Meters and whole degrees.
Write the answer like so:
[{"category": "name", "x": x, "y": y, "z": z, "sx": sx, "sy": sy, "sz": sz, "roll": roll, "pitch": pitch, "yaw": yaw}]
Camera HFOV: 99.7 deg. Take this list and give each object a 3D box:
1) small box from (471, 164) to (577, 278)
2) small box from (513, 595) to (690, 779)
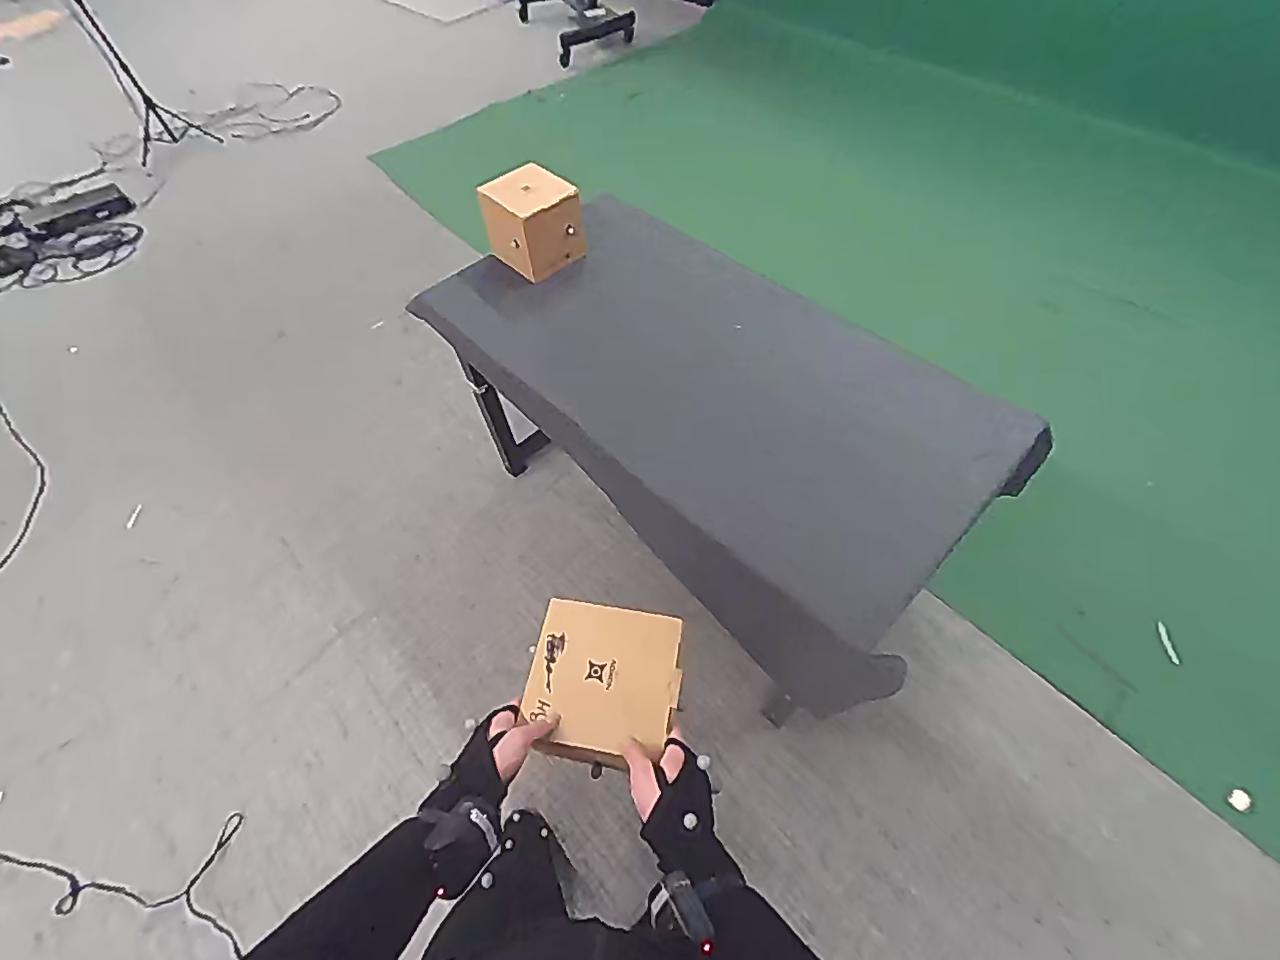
[{"category": "small box", "x": -0.263, "y": -0.601, "z": 1.271, "sx": 0.179, "sy": 0.176, "sz": 0.168, "roll": 39, "pitch": 62, "yaw": 24}, {"category": "small box", "x": -0.041, "y": 0.268, "z": 0.687, "sx": 0.179, "sy": 0.176, "sz": 0.168, "roll": 10, "pitch": 55, "yaw": 4}]
